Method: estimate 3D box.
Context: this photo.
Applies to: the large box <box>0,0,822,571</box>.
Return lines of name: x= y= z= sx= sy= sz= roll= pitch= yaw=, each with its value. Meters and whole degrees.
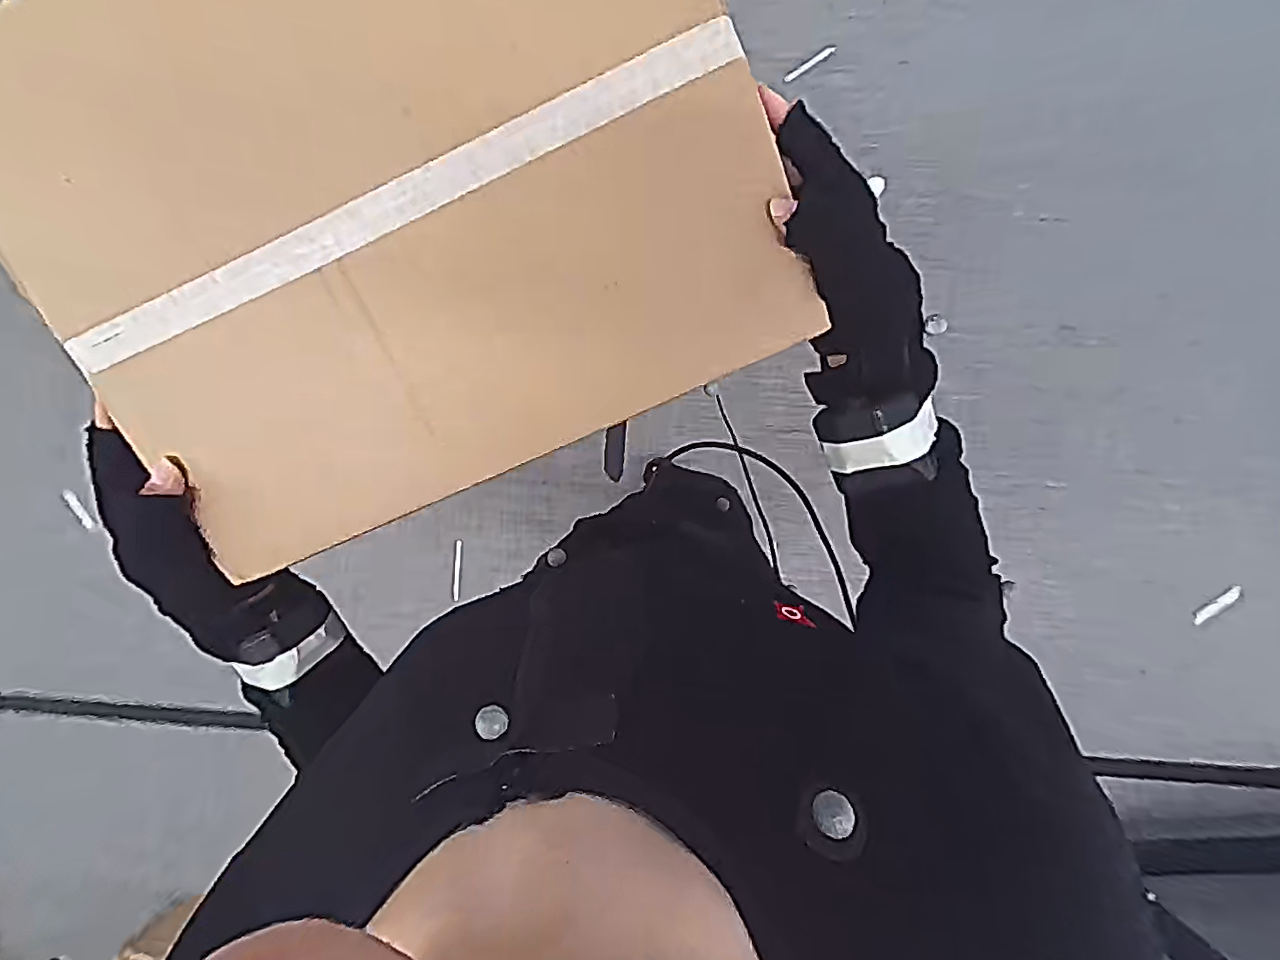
large box: x=-0.129 y=-0.188 z=0.449 sx=0.408 sy=0.320 sz=0.320 roll=-22 pitch=104 yaw=5
